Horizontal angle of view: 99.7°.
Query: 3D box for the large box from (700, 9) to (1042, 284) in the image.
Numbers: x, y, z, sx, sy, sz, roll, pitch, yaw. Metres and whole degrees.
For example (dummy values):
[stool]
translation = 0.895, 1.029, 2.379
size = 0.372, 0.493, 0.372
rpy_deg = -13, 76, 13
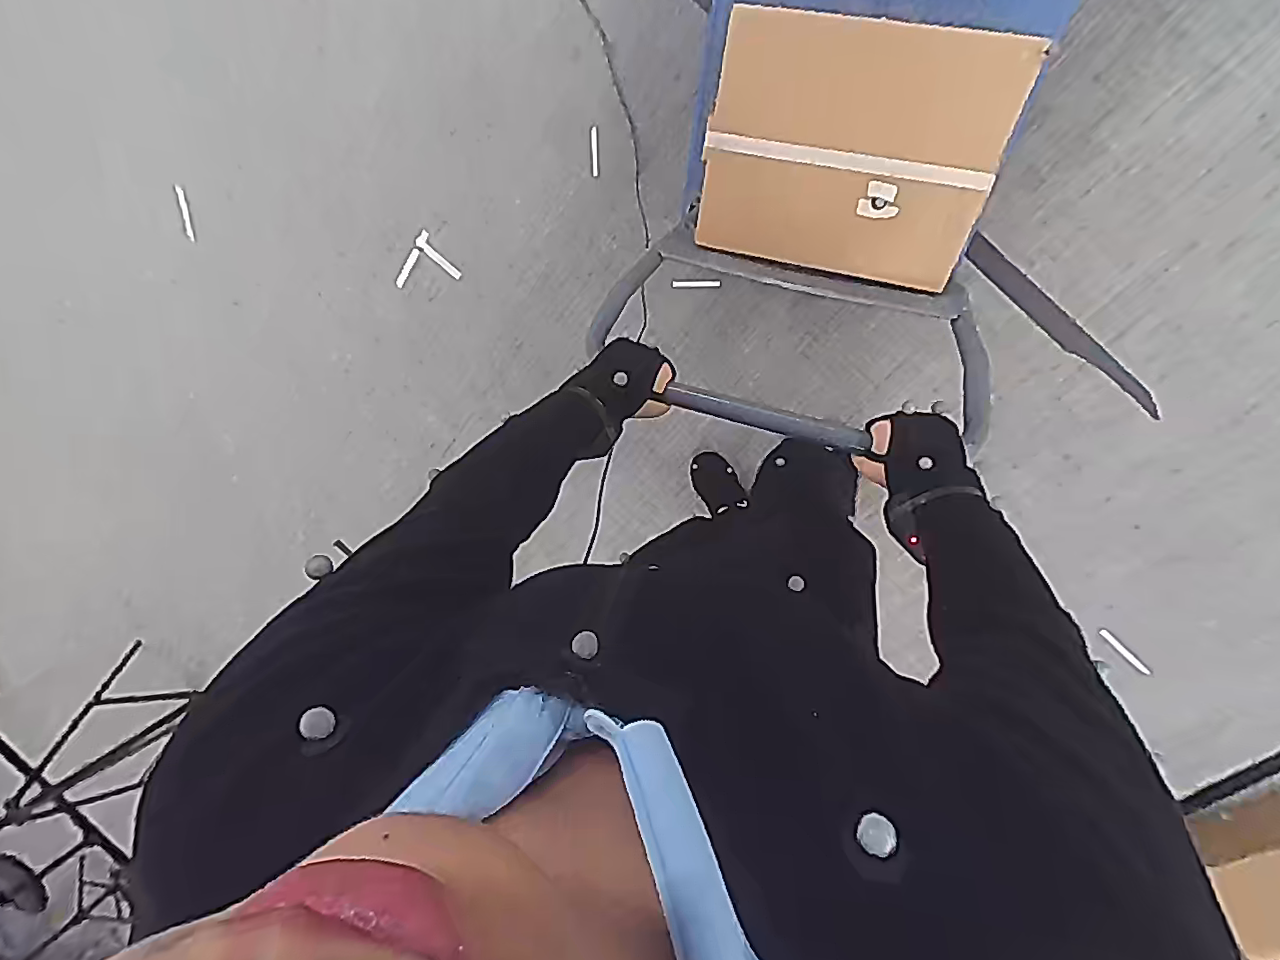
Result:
[large box]
translation = 0.346, -0.561, 0.919
size = 0.408, 0.320, 0.320
rpy_deg = 16, 128, 10
